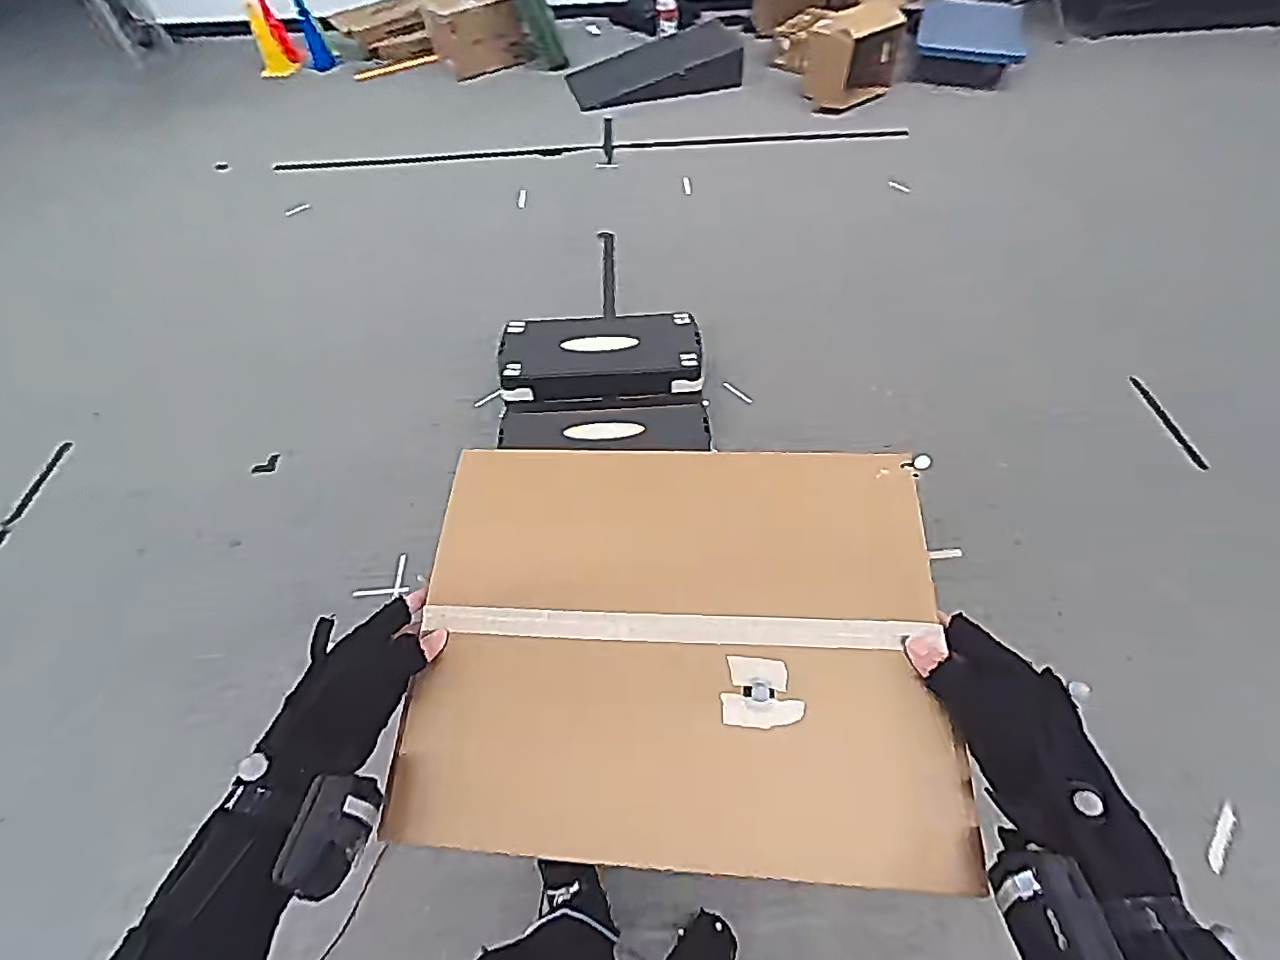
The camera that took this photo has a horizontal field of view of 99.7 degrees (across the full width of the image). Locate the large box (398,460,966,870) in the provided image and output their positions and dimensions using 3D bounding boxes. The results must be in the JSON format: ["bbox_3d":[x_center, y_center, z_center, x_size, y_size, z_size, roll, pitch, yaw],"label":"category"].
[{"bbox_3d":[0.036,0.186,0.571,0.408,0.320,0.320,0,65,6],"label":"large box"}]

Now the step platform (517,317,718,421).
[{"bbox_3d":[-0.076,-0.388,1.863,0.684,0.204,0.286,-3,57,-1],"label":"step platform"}]
